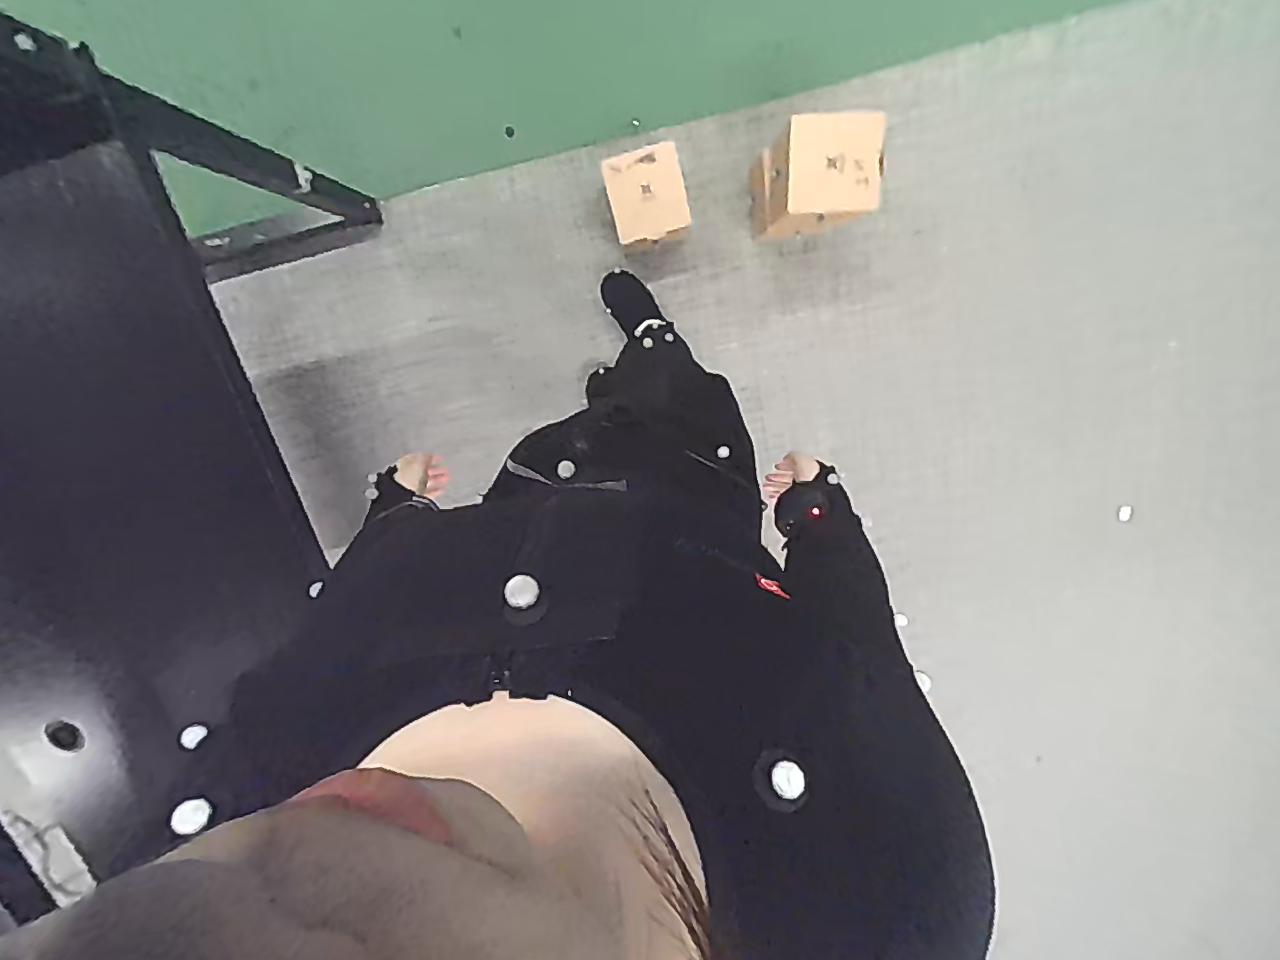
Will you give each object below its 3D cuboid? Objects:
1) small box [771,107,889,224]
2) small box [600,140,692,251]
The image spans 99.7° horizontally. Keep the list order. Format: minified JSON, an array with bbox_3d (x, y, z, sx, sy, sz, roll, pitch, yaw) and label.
[{"bbox_3d":[0.362,-0.607,1.064,0.179,0.176,0.168,-2,107,1],"label":"small box"},{"bbox_3d":[0.016,-0.633,1.230,0.168,0.176,0.179,-14,105,5],"label":"small box"}]
